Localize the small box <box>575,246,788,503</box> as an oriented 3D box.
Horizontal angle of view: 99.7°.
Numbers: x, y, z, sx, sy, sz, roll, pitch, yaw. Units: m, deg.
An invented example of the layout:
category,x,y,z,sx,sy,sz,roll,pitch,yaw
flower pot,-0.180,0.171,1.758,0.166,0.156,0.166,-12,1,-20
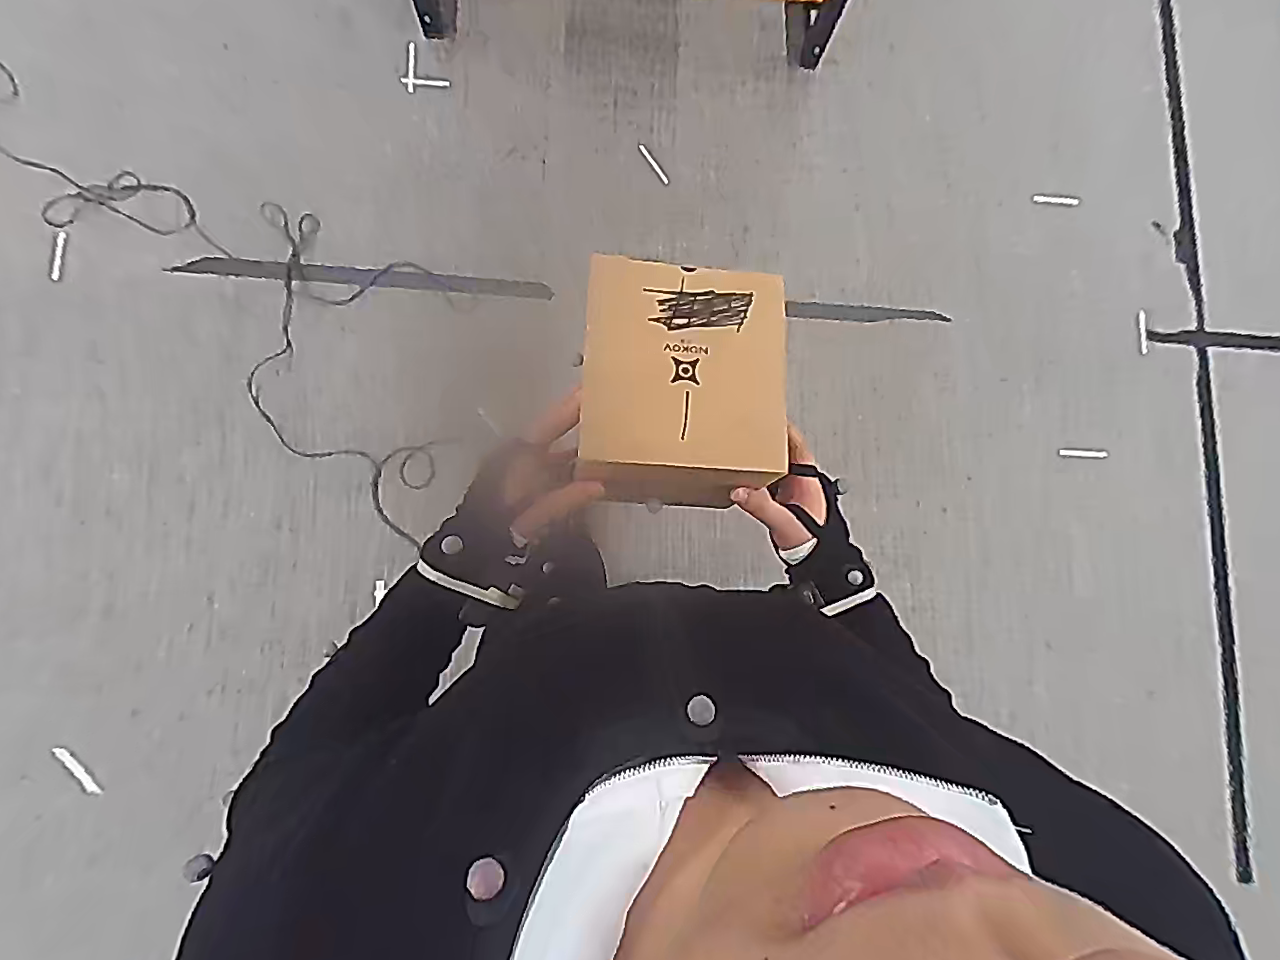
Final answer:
category,x,y,z,sx,sy,sz,roll,pitch,yaw
small box,0.027,-0.084,0.507,0.168,0.176,0.179,3,77,-6
